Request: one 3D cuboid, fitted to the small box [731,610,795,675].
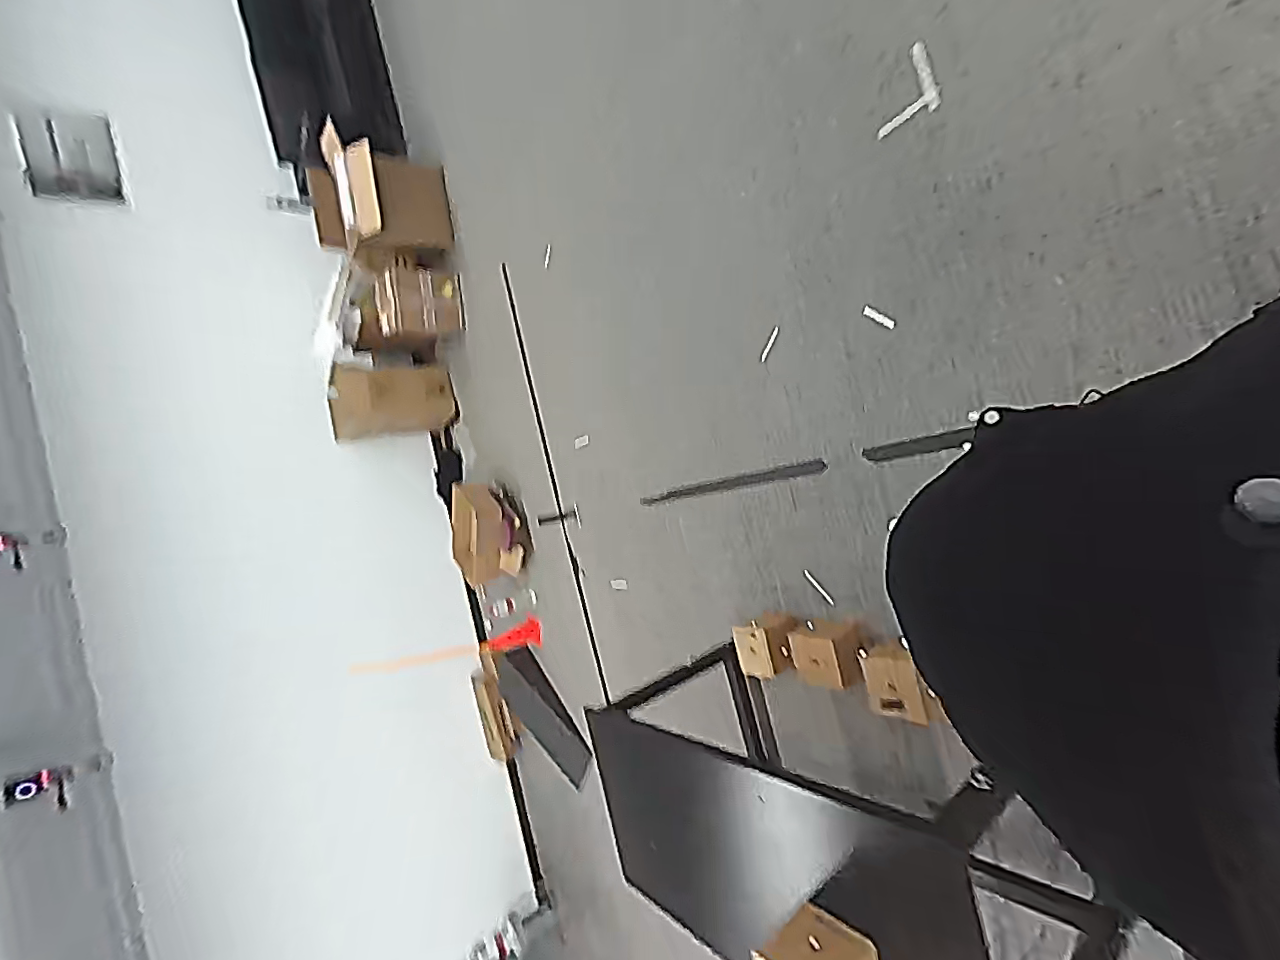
[{"bbox_3d":[0.470,0.597,2.000,0.168,0.176,0.179,-16,87,53],"label":"small box"}]

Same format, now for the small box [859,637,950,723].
[{"bbox_3d":[0.779,0.578,1.584,0.168,0.176,0.179,-16,86,53],"label":"small box"}]

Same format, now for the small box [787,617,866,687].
[{"bbox_3d":[0.624,0.562,1.790,0.179,0.176,0.168,-15,88,53],"label":"small box"}]

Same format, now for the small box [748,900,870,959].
[{"bbox_3d":[0.340,0.979,1.049,0.168,0.176,0.179,-9,92,54],"label":"small box"}]
